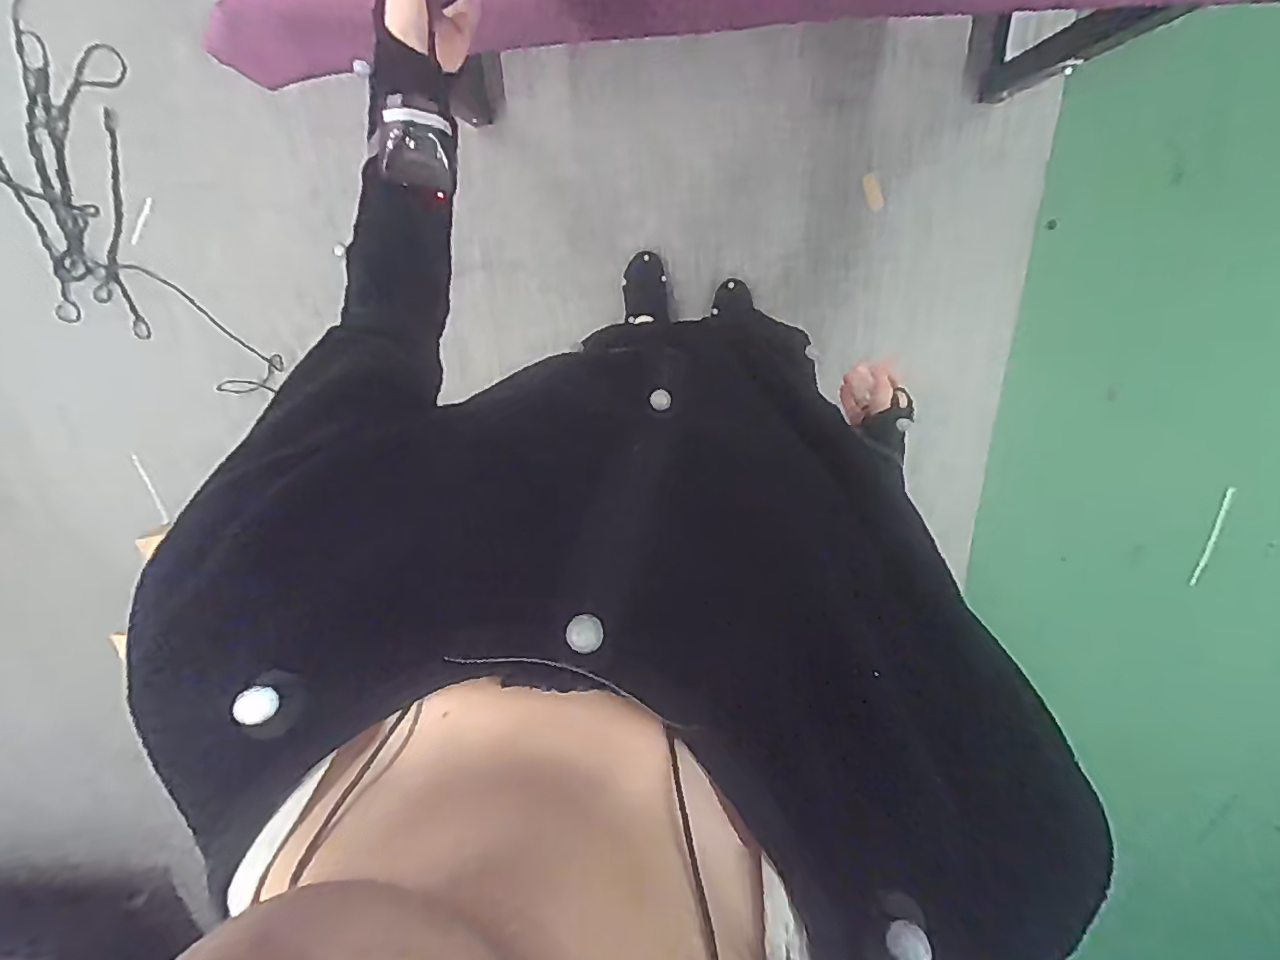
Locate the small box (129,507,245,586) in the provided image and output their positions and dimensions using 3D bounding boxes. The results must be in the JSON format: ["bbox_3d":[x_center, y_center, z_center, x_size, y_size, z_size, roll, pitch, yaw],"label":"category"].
[{"bbox_3d":[-1.380,0.200,1.660,0.179,0.176,0.168,-11,113,8],"label":"small box"}]
